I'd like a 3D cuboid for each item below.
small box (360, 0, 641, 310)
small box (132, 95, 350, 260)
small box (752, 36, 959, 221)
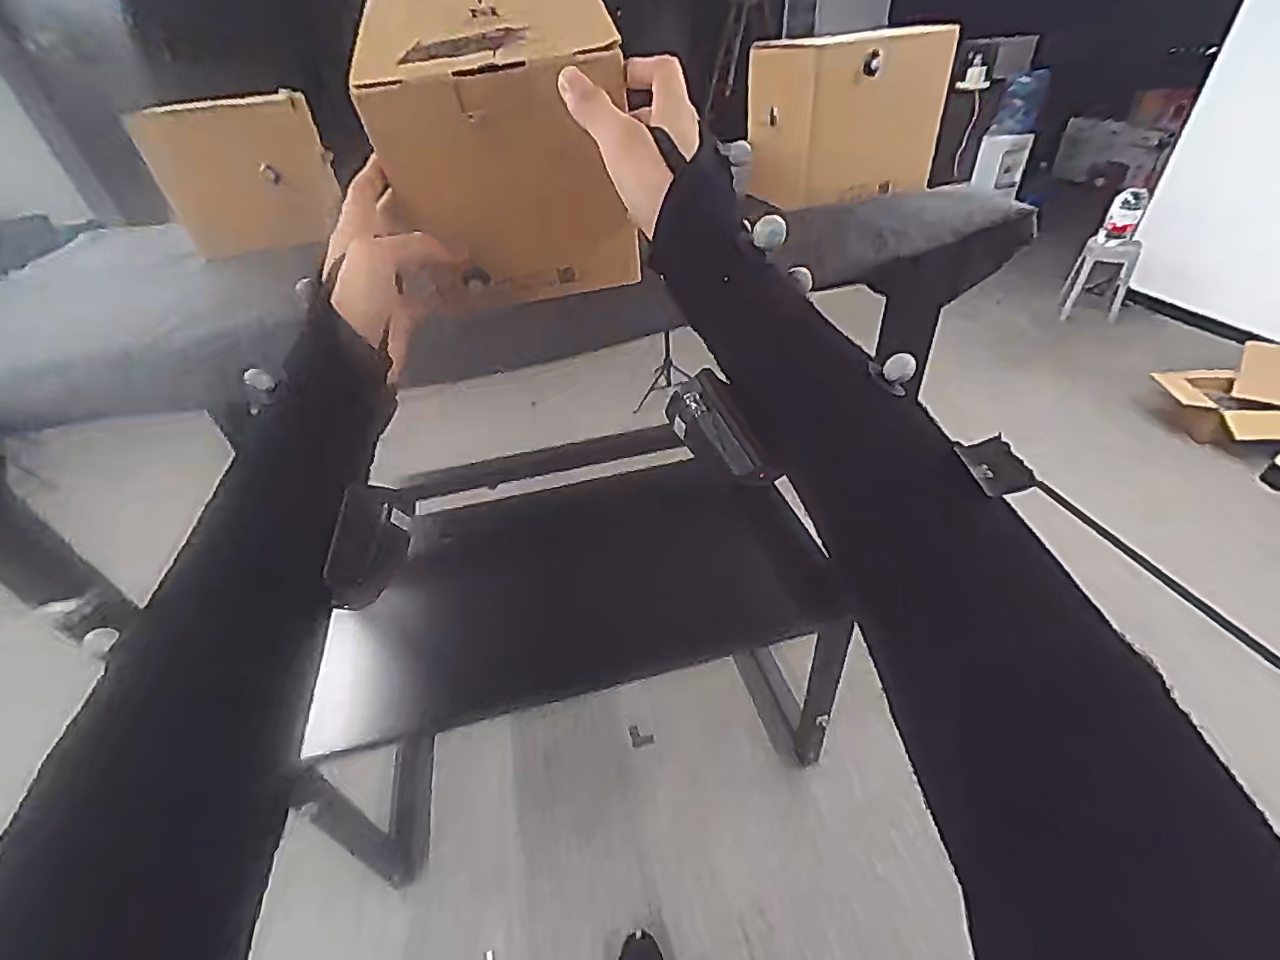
[{"bbox_3d":[-0.096,-0.255,0.432,0.168,0.176,0.179,-11,56,-4],"label":"small box"},{"bbox_3d":[-0.534,-0.427,0.761,0.179,0.176,0.168,-14,40,-10],"label":"small box"},{"bbox_3d":[0.248,-0.436,0.677,0.168,0.176,0.179,-13,39,-8],"label":"small box"}]
